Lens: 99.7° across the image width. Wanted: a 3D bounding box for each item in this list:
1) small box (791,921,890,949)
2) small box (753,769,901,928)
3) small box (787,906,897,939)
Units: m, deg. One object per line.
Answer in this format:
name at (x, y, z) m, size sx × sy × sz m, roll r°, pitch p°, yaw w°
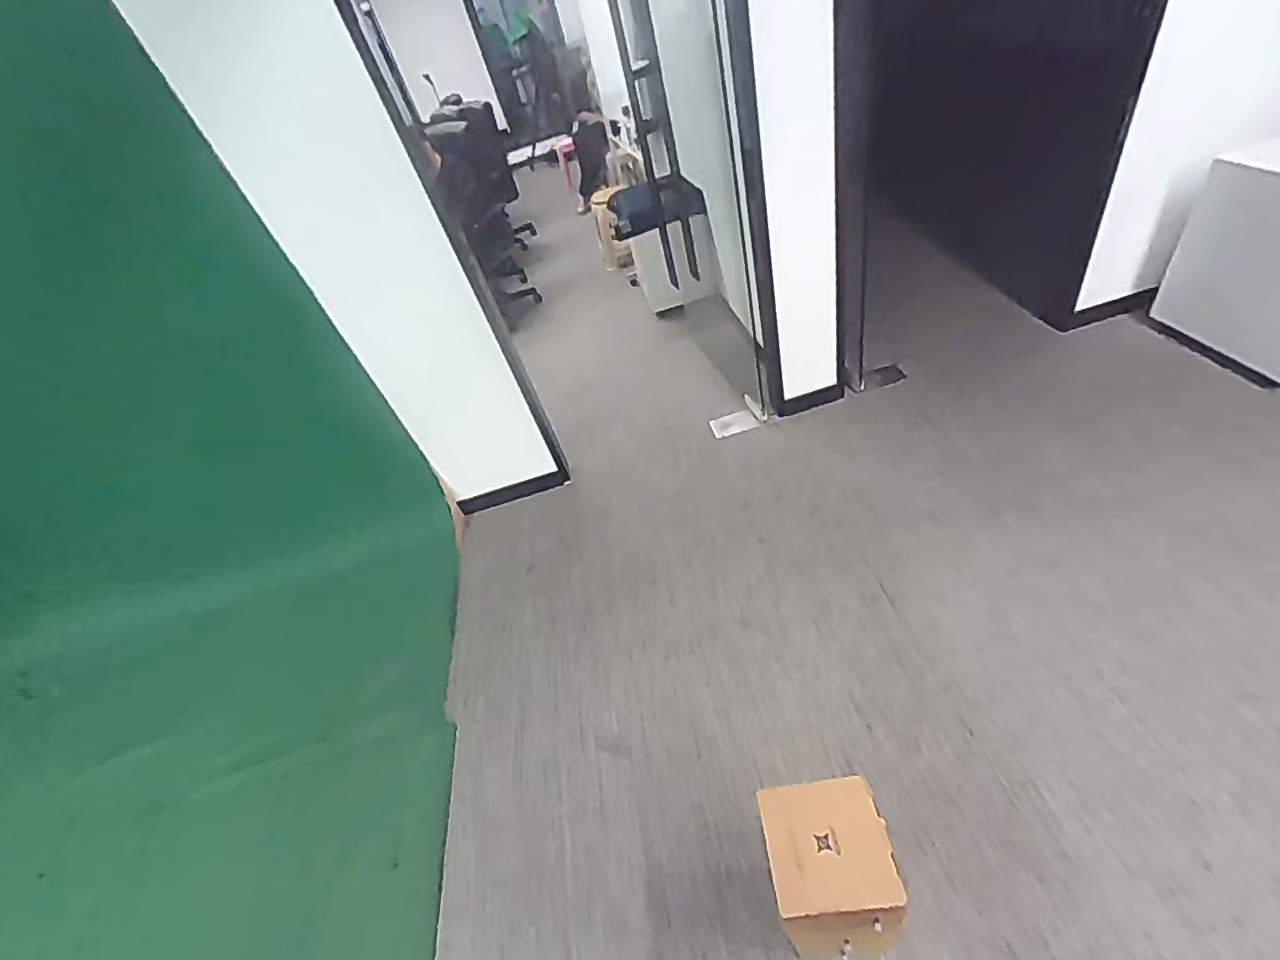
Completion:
small box at (0.373, 0.809, 1.073) m, size 0.179 × 0.176 × 0.168 m, roll -14°, pitch 41°, yaw 8°
small box at (0.289, 0.583, 0.854) m, size 0.179 × 0.176 × 0.168 m, roll -14°, pitch 41°, yaw 8°
small box at (0.332, 0.697, 0.966) m, size 0.179 × 0.176 × 0.168 m, roll -15°, pitch 43°, yaw 6°
